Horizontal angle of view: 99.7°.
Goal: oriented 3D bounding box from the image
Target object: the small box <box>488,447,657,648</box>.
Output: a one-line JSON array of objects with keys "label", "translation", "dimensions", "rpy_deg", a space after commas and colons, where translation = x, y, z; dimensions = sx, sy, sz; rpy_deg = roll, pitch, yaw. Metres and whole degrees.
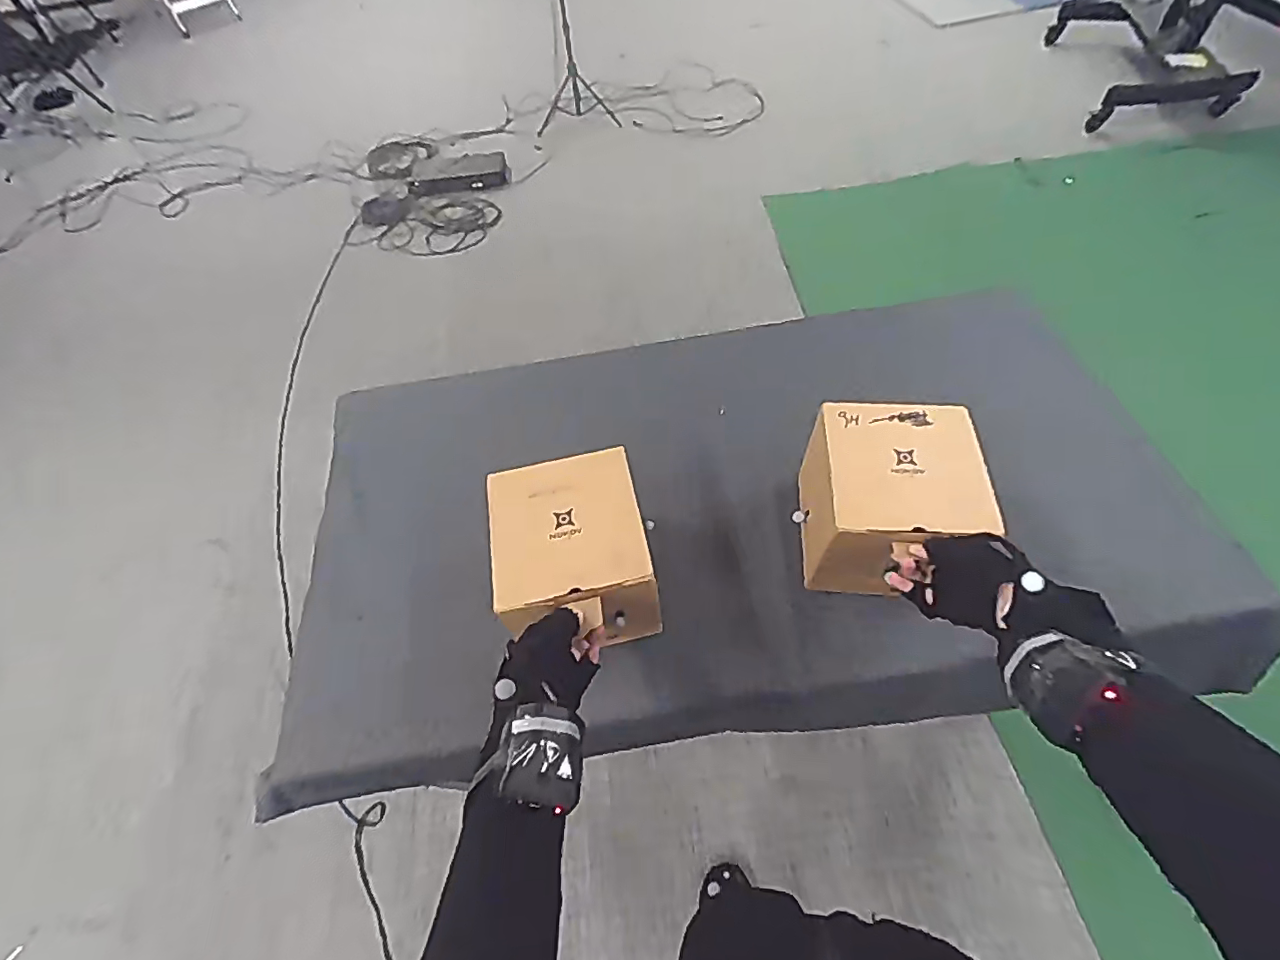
[{"label": "small box", "translation": [-0.078, 0.091, 0.661], "dimensions": [0.168, 0.176, 0.179], "rpy_deg": [-12, 54, -5]}]

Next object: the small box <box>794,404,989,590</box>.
[{"label": "small box", "translation": [0.292, 0.026, 0.672], "dimensions": [0.168, 0.176, 0.179], "rpy_deg": [2, 58, 6]}]
